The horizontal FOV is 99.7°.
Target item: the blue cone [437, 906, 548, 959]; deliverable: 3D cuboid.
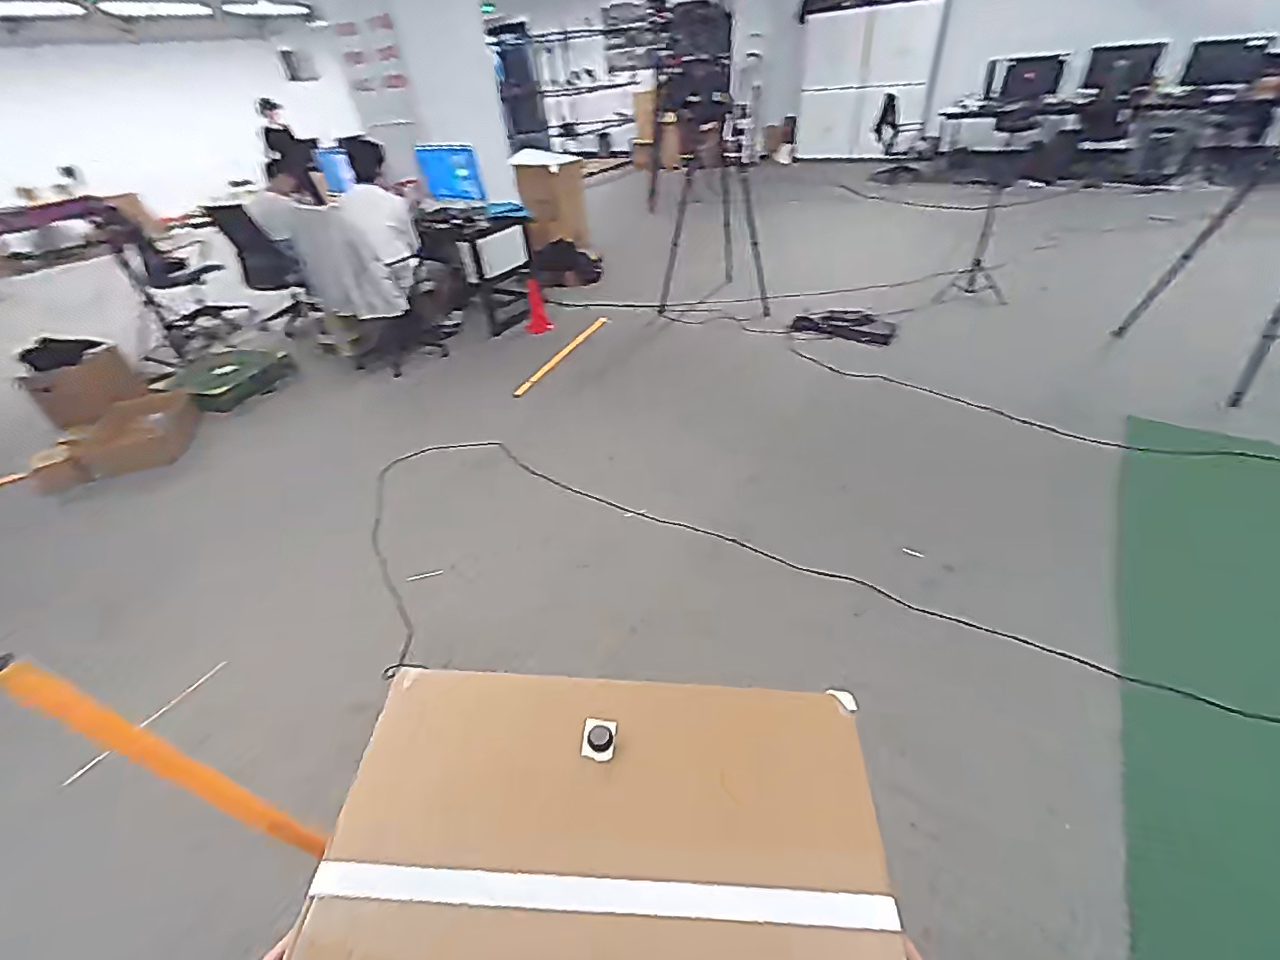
[{"bbox_3d":[-0.308,0.923,1.054,0.192,0.380,0.193,-20,41,-16],"label":"blue cone"}]
